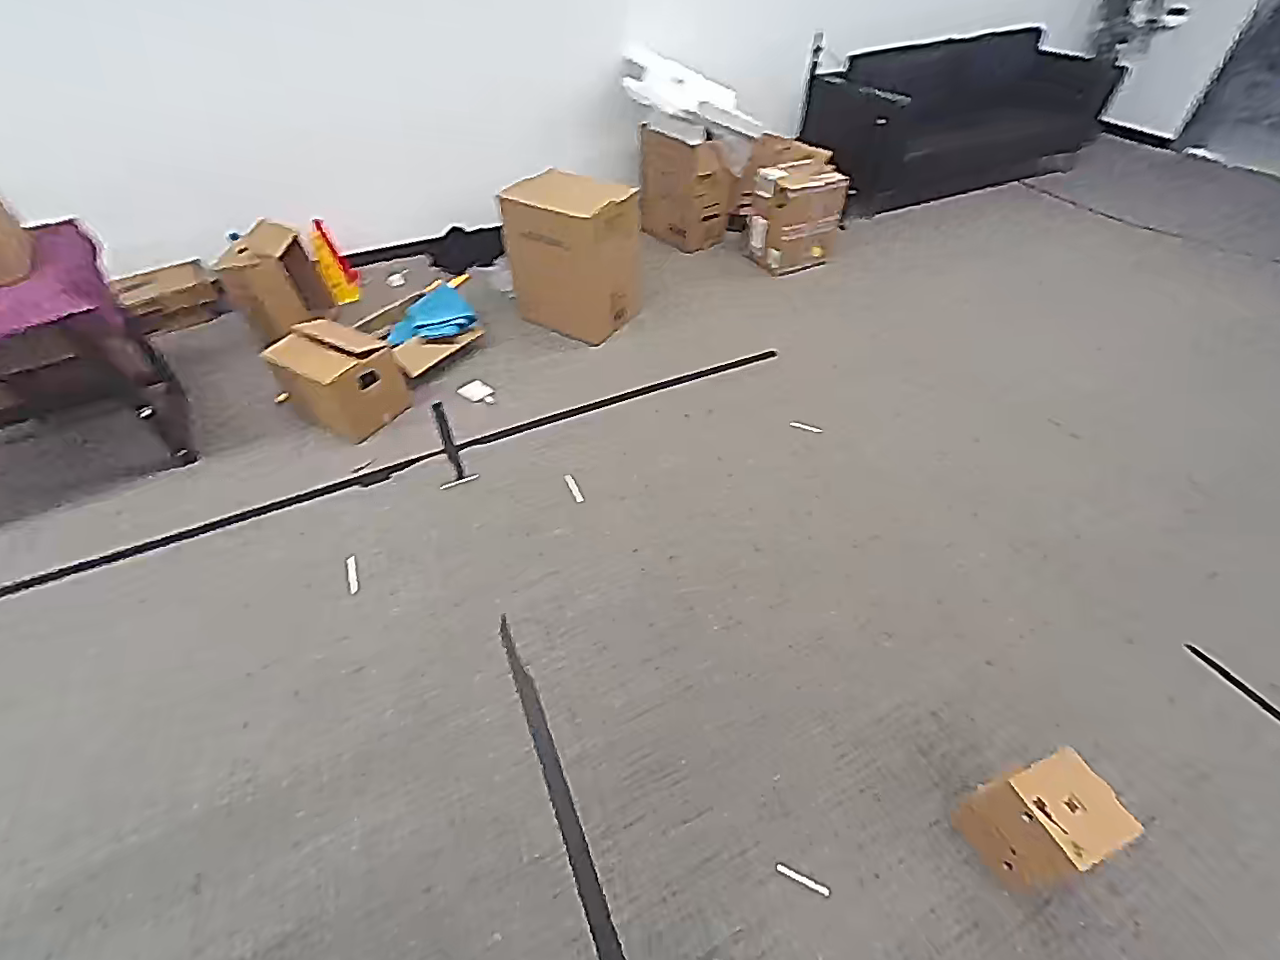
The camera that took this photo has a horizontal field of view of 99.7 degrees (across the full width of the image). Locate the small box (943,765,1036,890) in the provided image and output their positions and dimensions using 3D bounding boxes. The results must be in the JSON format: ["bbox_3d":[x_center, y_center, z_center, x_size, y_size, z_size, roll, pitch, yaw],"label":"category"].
[{"bbox_3d":[0.840,0.795,1.231,0.168,0.176,0.179,-21,49,-20],"label":"small box"}]

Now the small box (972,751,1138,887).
[{"bbox_3d":[0.830,0.692,1.103,0.179,0.176,0.168,-16,48,-16],"label":"small box"}]
